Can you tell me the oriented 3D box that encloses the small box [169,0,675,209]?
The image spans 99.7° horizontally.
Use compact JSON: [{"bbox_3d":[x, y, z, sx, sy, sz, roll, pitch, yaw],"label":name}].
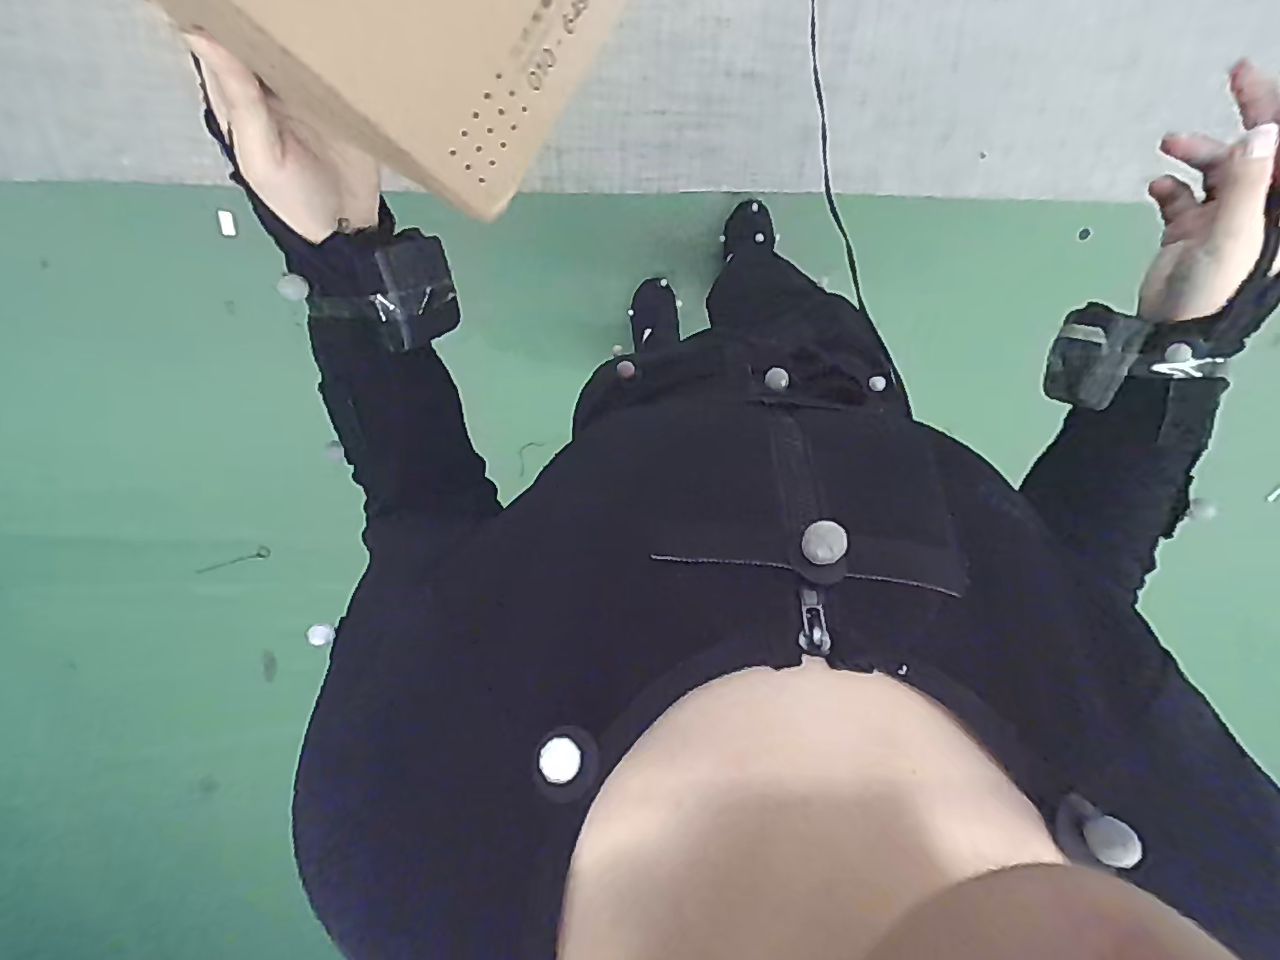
[{"bbox_3d":[-0.089,-0.212,0.148,0.179,0.176,0.168,37,98,24],"label":"small box"}]
